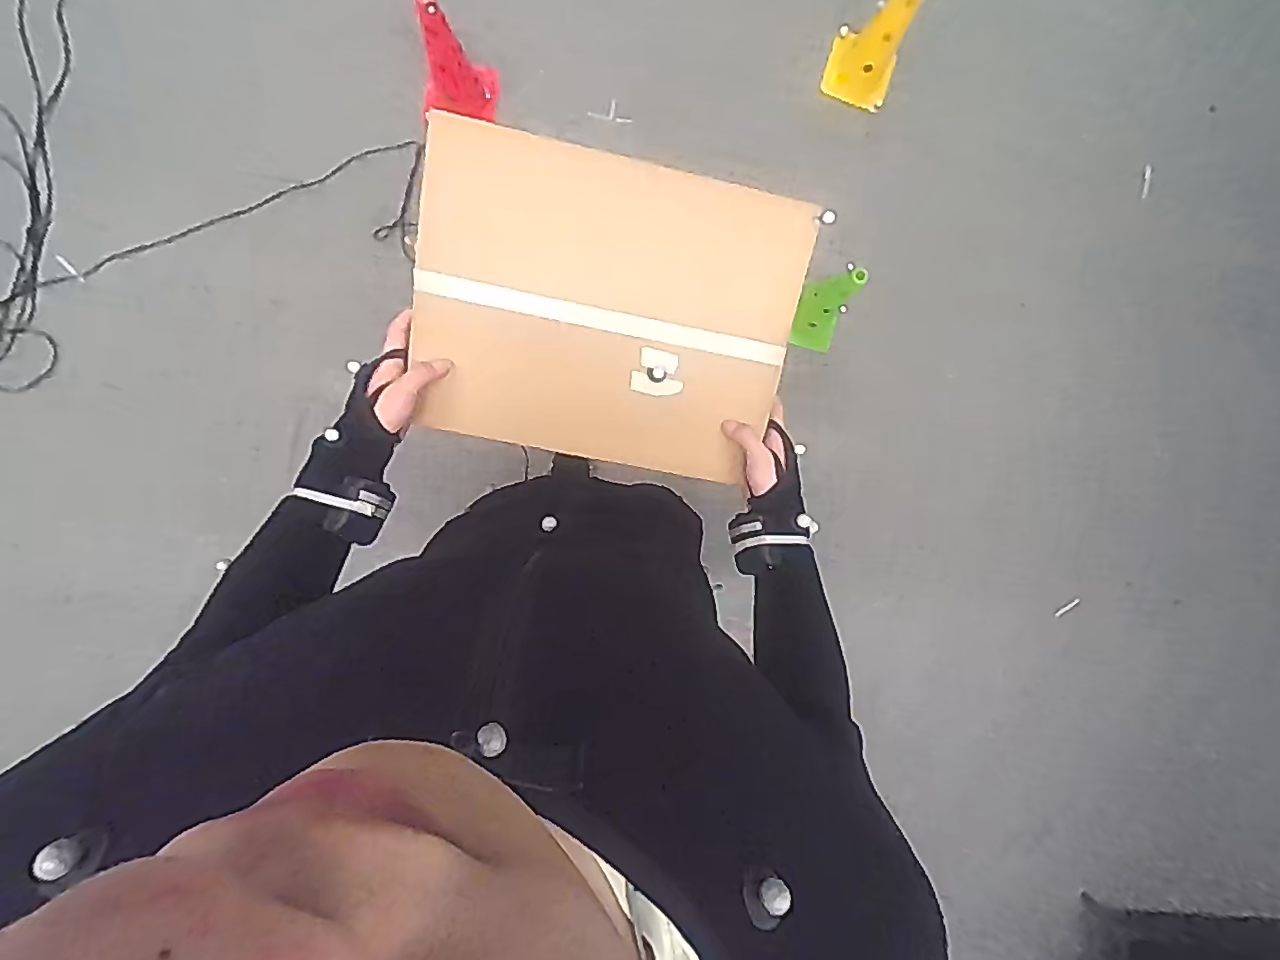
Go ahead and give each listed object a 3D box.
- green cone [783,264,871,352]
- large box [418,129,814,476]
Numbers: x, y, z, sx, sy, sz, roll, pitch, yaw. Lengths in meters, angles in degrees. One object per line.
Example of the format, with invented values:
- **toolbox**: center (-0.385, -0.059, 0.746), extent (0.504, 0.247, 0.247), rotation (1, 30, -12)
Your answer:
- **green cone**: center (0.533, -0.507, 1.499), extent (0.200, 0.368, 0.202), rotation (13, 90, -6)
- **large box**: center (-0.044, -0.217, 0.737), extent (0.408, 0.320, 0.320), rotation (9, 106, -6)
